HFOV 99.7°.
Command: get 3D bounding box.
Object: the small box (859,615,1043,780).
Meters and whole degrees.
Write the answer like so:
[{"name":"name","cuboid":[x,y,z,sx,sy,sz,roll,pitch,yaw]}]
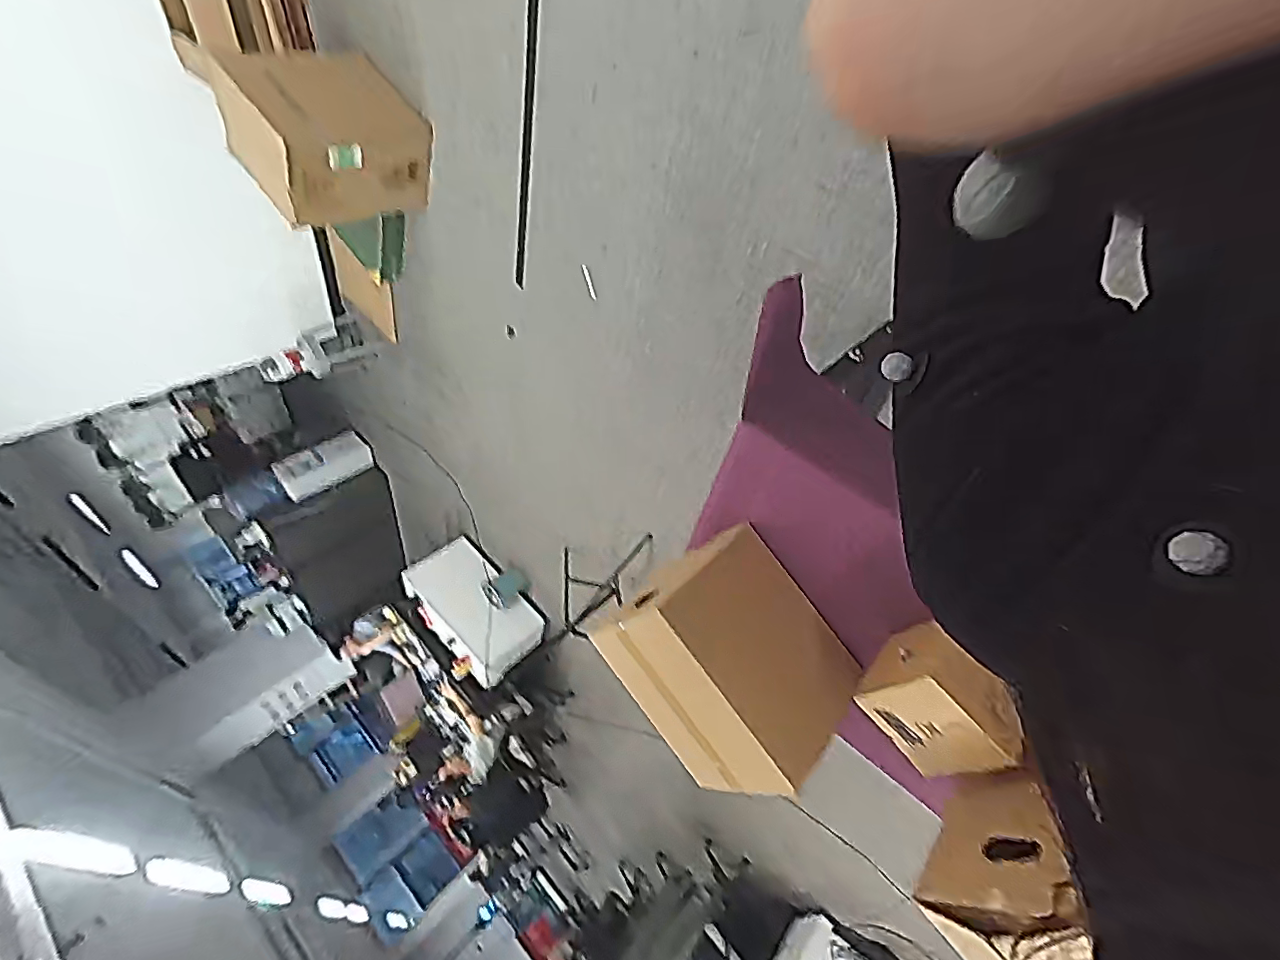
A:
[{"name":"small box","cuboid":[0.504,0.351,0.877,0.168,0.176,0.179,47,143,11]}]
